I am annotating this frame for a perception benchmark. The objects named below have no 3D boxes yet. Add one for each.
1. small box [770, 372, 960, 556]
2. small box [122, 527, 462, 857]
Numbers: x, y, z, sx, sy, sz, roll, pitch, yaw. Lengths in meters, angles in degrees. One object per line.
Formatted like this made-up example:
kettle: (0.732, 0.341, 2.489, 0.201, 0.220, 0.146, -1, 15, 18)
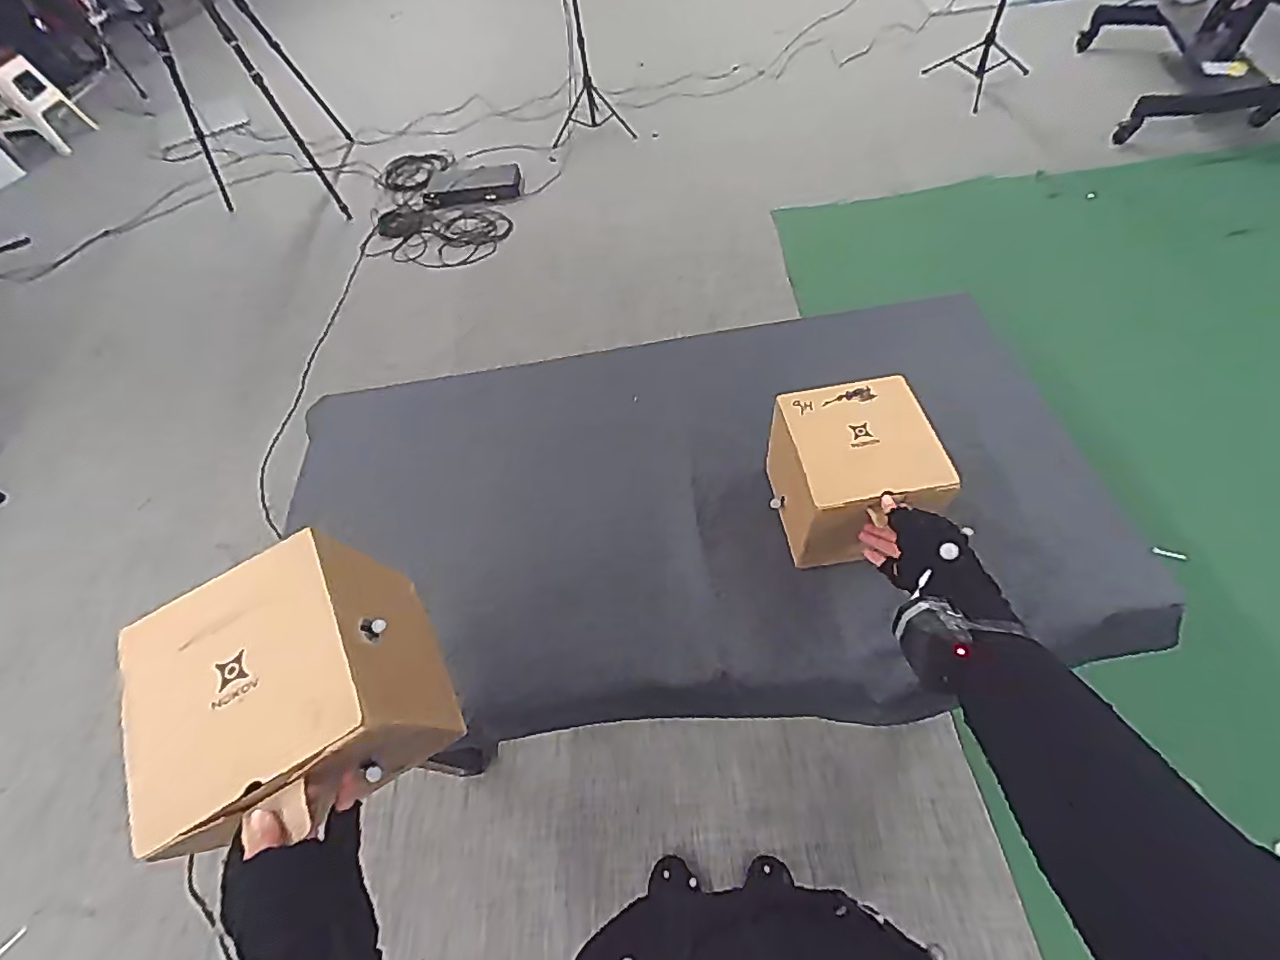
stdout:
small box: (0.278, -0.011, 0.715, 0.168, 0.176, 0.179, -9, 57, 1)
small box: (-0.282, 0.175, 0.465, 0.168, 0.176, 0.179, -30, 63, -7)
